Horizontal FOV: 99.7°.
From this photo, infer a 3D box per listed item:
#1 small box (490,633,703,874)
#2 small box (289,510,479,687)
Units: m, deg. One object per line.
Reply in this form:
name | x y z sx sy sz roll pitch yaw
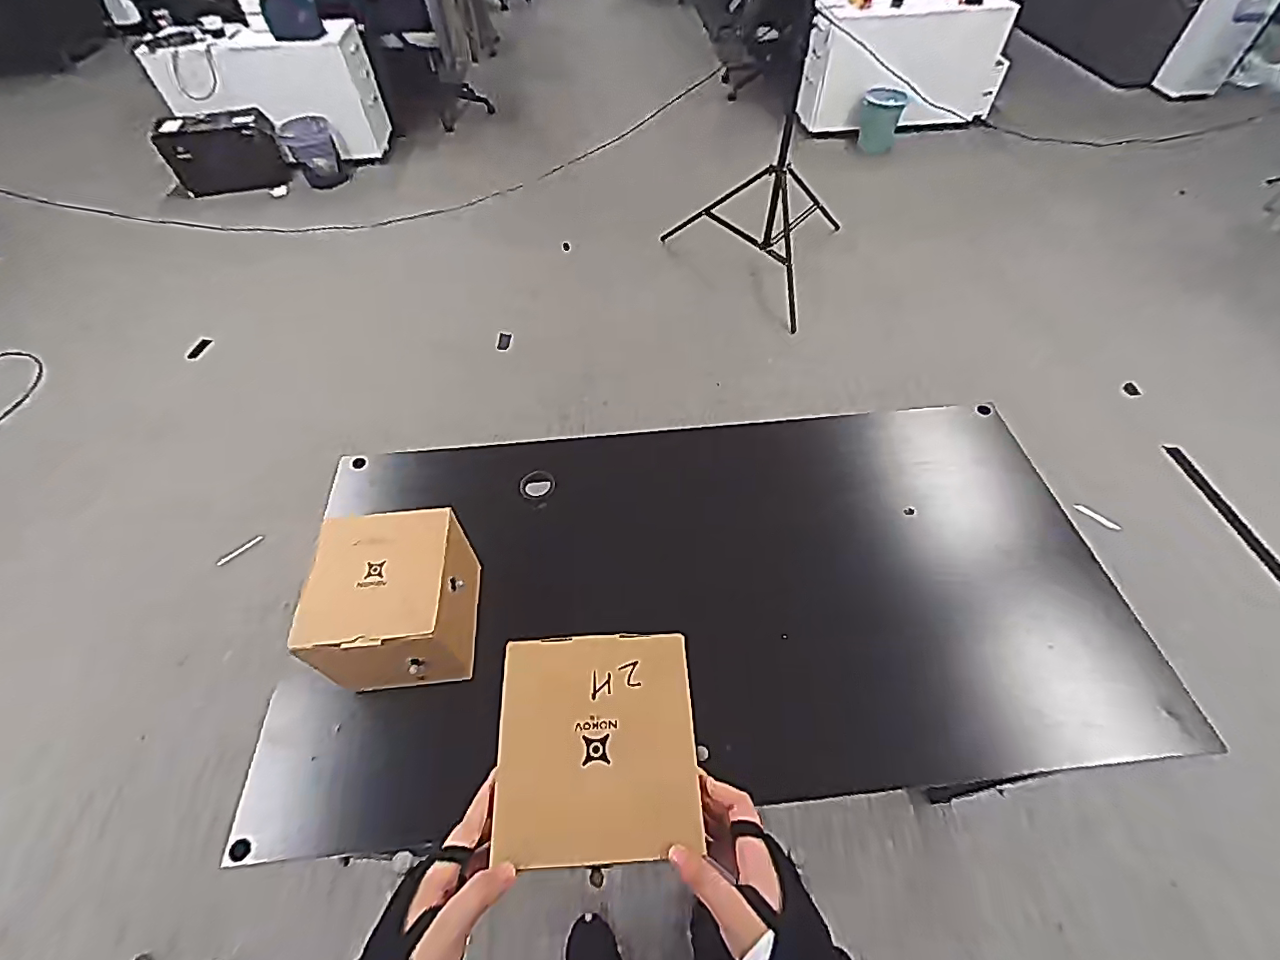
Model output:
small box | -0.037 0.262 0.519 0.168 0.176 0.179 -2 55 -3
small box | -0.319 0.163 0.718 0.168 0.176 0.179 -5 53 -4
